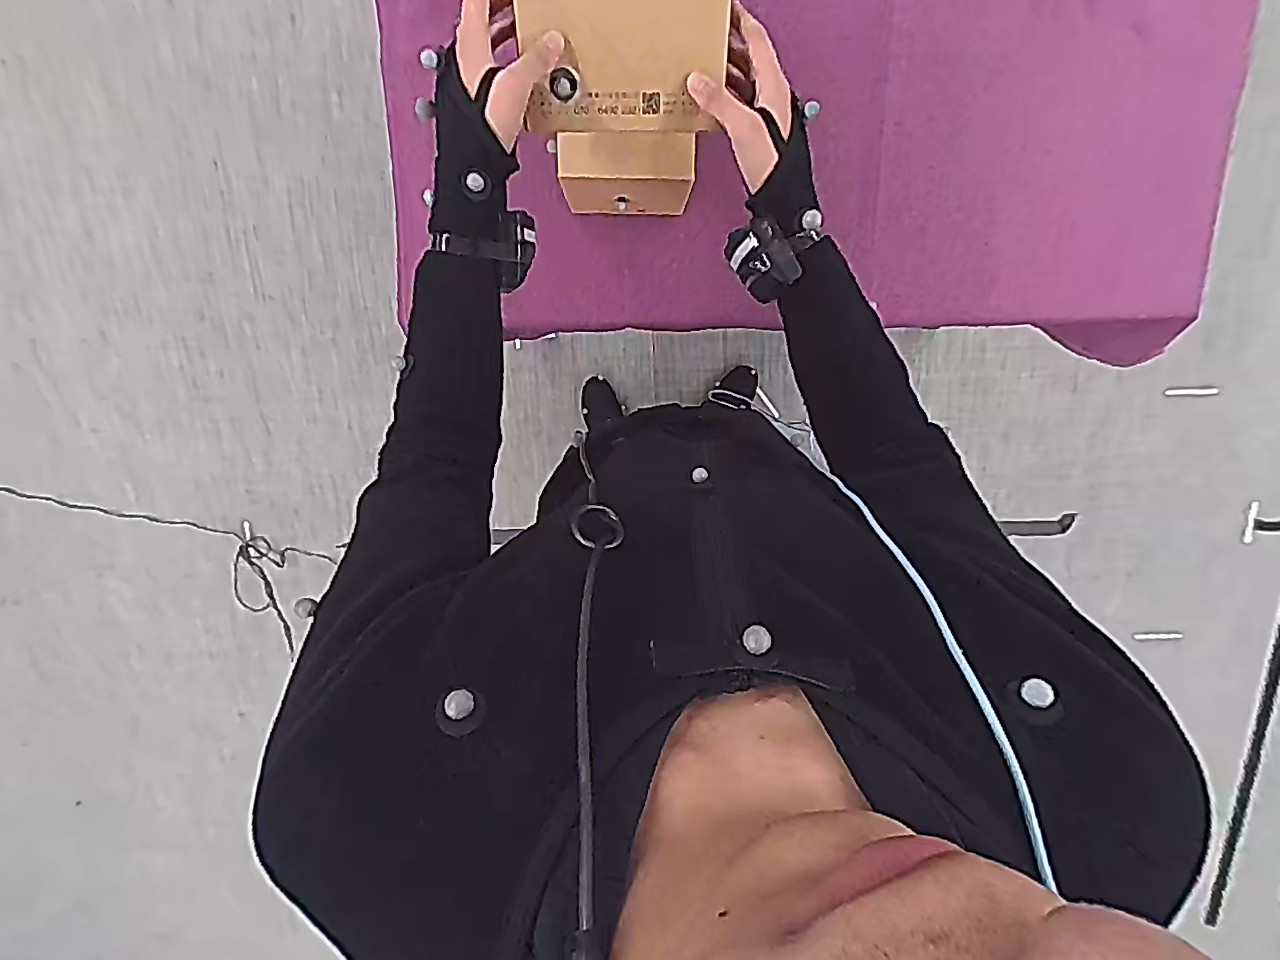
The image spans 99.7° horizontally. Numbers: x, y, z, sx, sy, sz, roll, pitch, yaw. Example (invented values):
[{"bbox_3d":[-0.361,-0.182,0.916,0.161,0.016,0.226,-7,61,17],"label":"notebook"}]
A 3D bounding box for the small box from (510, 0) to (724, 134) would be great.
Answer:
[{"bbox_3d":[-0.024,-0.403,0.469,0.168,0.179,0.176,-4,125,-7],"label":"small box"}]

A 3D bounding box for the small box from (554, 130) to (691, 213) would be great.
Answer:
[{"bbox_3d":[-0.020,-0.462,0.707,0.168,0.176,0.179,1,103,-2],"label":"small box"}]
